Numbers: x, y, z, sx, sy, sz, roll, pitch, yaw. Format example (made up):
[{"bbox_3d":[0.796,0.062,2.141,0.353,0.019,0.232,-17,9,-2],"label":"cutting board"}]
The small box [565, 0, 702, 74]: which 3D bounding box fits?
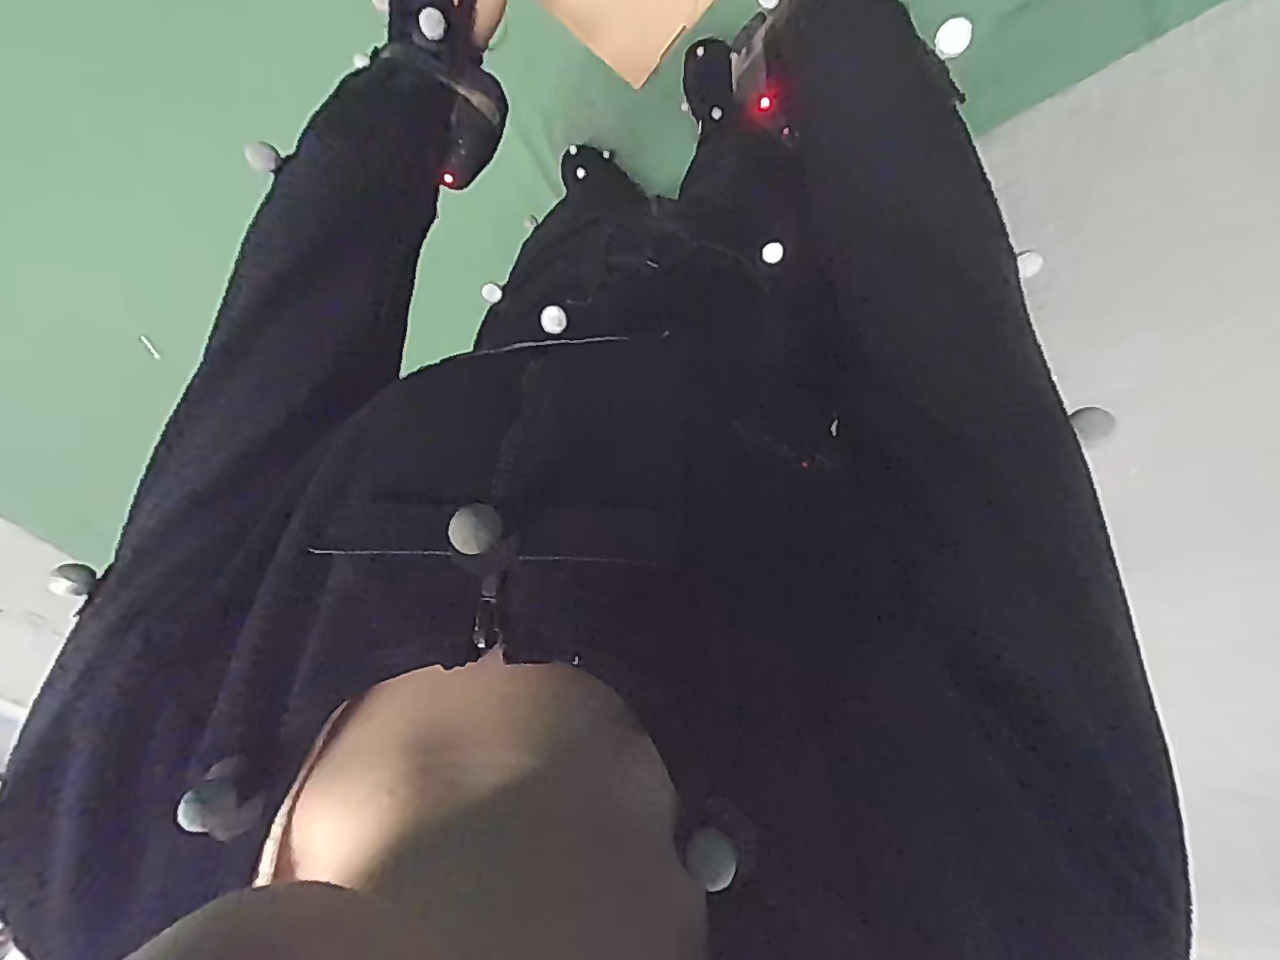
[{"bbox_3d":[-0.008,-0.472,0.399,0.179,0.176,0.168,24,143,-34],"label":"small box"}]
